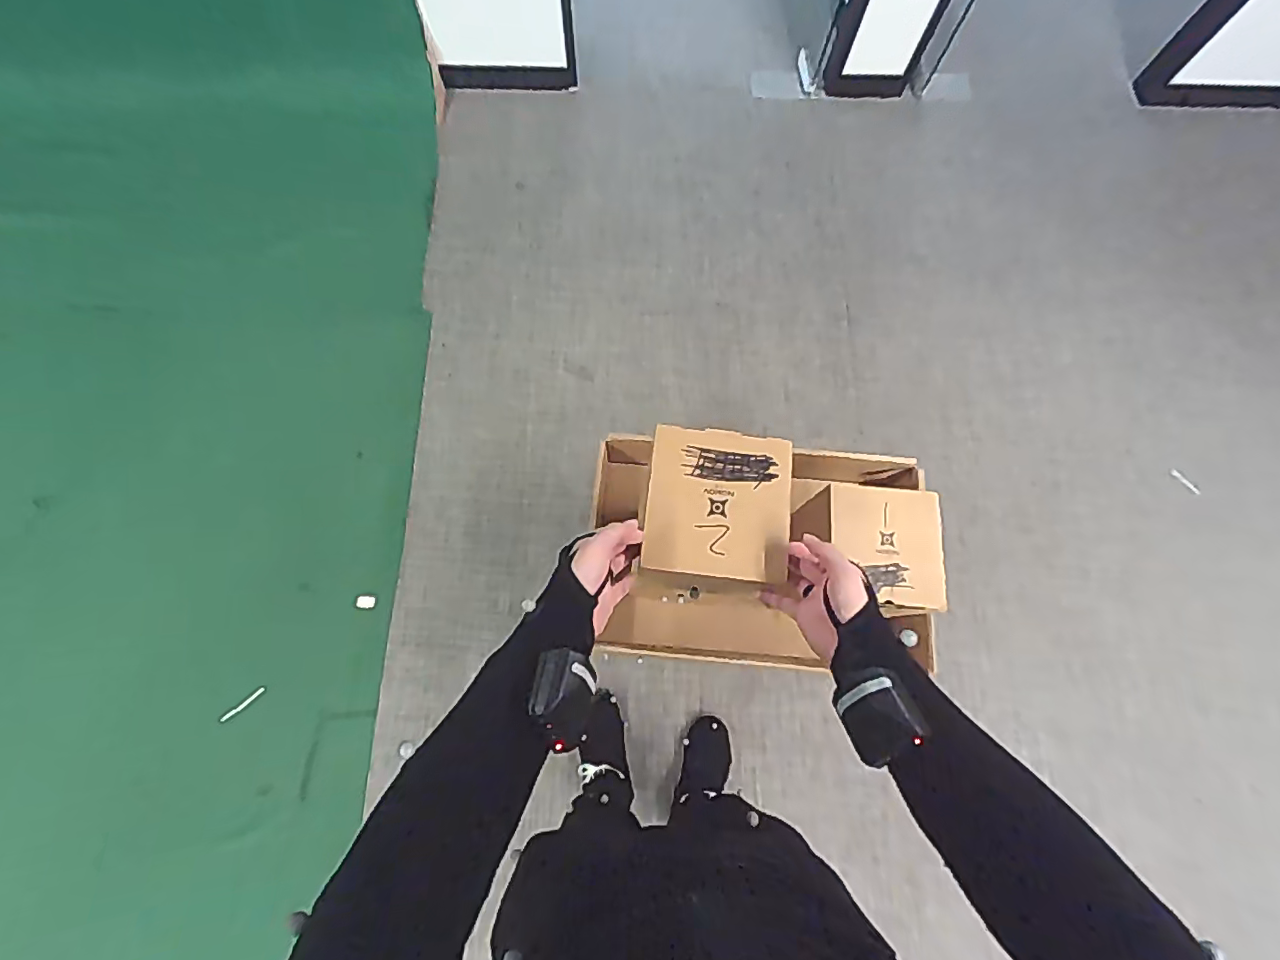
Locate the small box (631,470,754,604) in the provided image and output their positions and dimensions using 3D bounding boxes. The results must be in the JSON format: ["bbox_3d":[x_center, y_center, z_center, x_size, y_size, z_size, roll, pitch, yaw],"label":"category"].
[{"bbox_3d":[0.078,0.098,0.856,0.168,0.176,0.179,7,74,0],"label":"small box"}]

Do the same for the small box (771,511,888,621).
[{"bbox_3d":[0.349,0.168,1.015,0.168,0.176,0.179,6,74,1],"label":"small box"}]

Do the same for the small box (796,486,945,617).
[{"bbox_3d":[0.353,0.121,0.857,0.168,0.176,0.179,5,73,0],"label":"small box"}]
